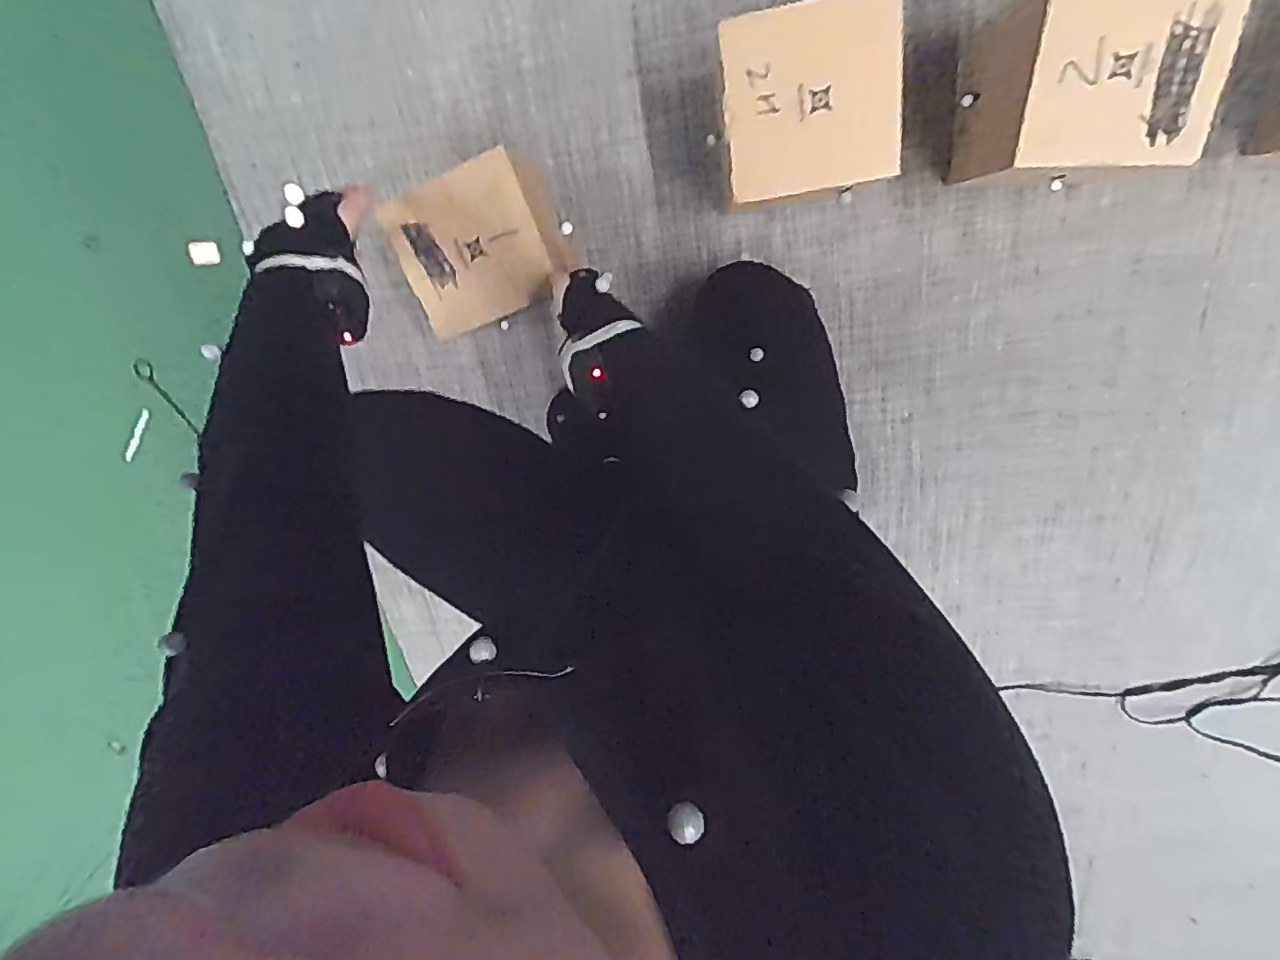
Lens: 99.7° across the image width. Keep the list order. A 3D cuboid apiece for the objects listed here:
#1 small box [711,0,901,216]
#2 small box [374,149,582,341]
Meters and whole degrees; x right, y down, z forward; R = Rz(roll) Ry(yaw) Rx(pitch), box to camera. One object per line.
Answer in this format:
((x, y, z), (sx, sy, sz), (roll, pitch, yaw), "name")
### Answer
((0.177, -0.410, 0.622), (0.179, 0.176, 0.168), (-5, 111, 8), "small box")
((-0.196, -0.297, 0.708), (0.179, 0.176, 0.168), (-17, 109, 12), "small box")
